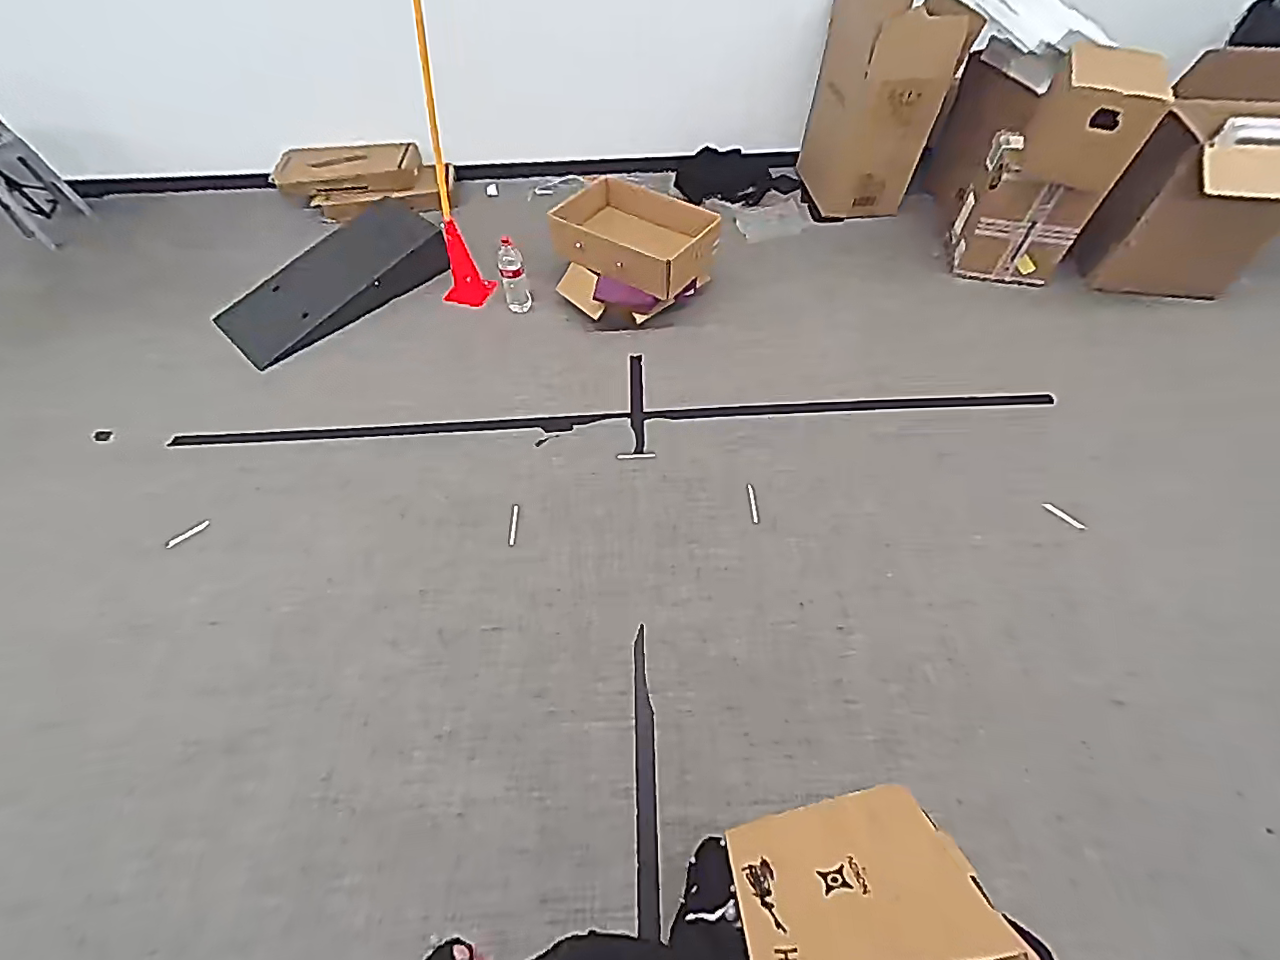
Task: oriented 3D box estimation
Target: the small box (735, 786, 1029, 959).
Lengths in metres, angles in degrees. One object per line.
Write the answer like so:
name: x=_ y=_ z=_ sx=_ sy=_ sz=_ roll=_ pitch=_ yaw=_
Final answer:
small box: x=0.193 y=0.399 z=0.444 sx=0.179 sy=0.168 sz=0.176 roll=-15 pitch=94 yaw=2
